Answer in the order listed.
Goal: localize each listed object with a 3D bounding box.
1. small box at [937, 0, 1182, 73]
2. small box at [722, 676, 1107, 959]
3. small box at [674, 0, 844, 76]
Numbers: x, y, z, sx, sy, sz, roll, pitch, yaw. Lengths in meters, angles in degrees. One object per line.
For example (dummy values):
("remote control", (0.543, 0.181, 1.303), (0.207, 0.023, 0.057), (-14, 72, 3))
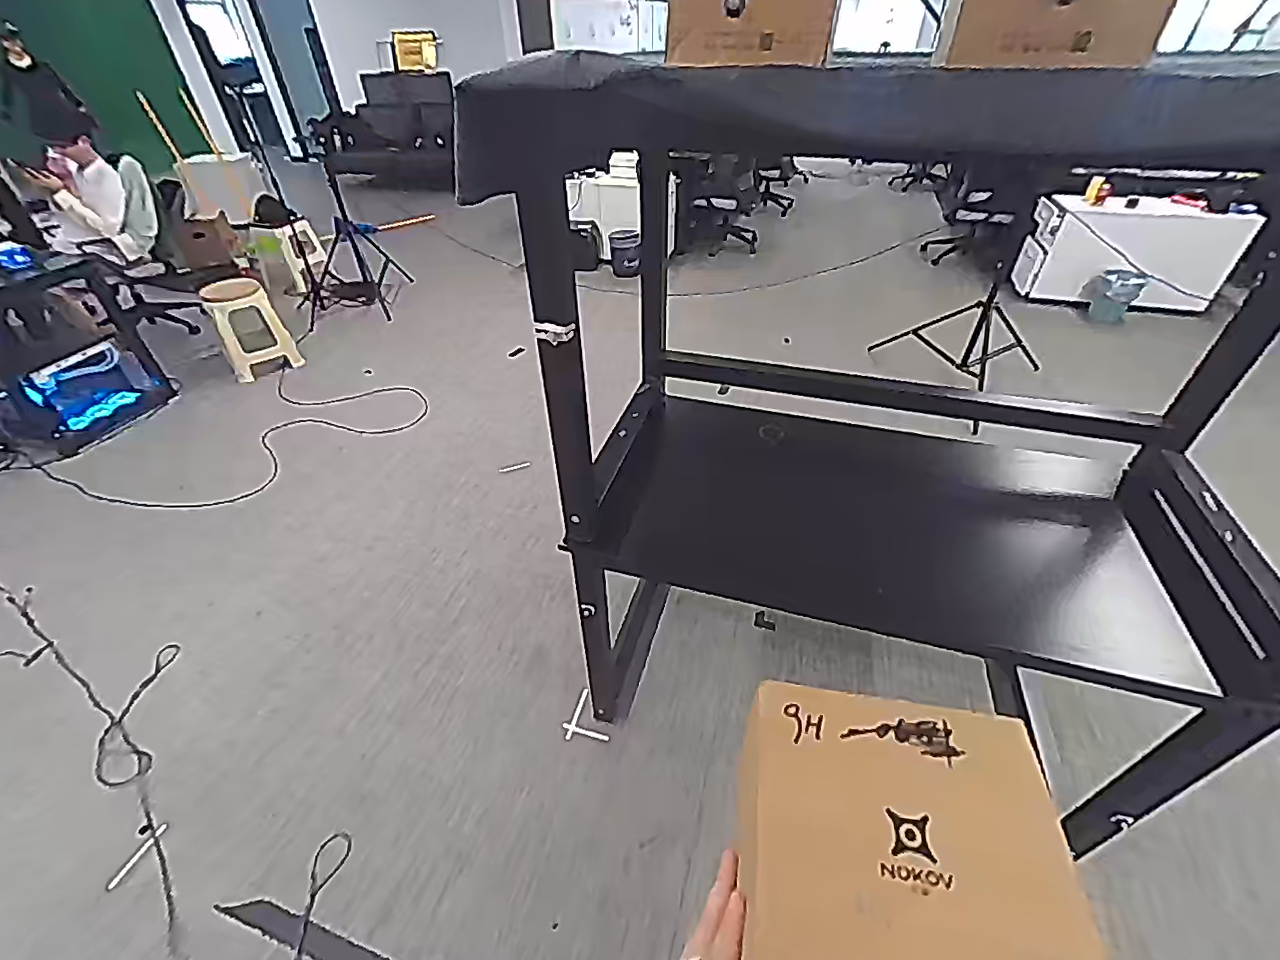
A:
("small box", (0.395, -0.489, 0.501), (0.168, 0.176, 0.179), (11, 39, 14))
("small box", (0.144, 0.255, 0.339), (0.168, 0.176, 0.179), (7, 44, 8))
("small box", (0.134, -0.537, 0.569), (0.168, 0.176, 0.179), (11, 40, 12))
